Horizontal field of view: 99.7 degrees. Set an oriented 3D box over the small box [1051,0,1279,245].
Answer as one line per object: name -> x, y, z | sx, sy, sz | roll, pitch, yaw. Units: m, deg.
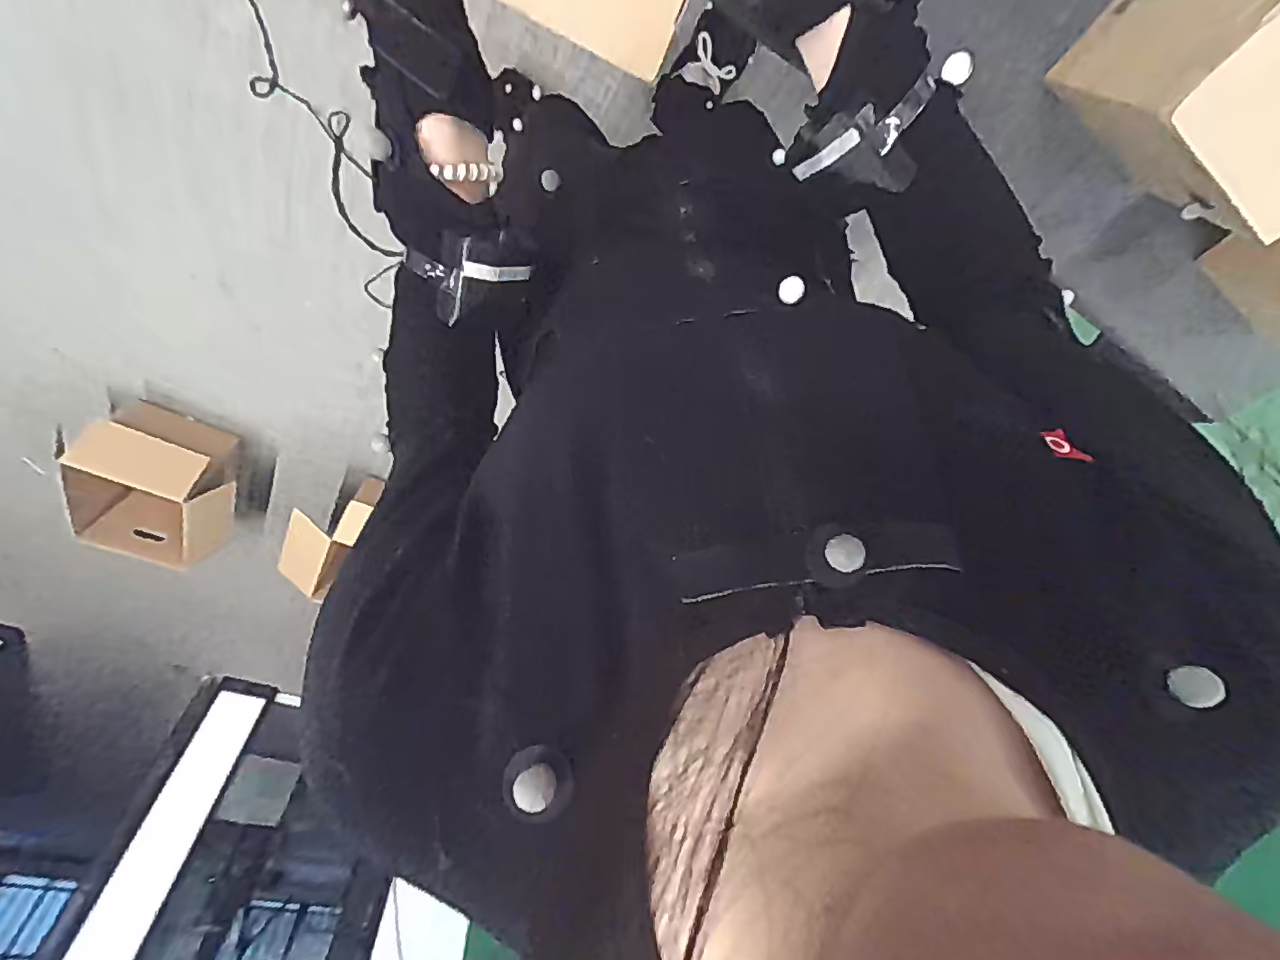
small box -> 0.488, -0.331, 0.428 | 0.179, 0.176, 0.168 | 26, 128, -20
